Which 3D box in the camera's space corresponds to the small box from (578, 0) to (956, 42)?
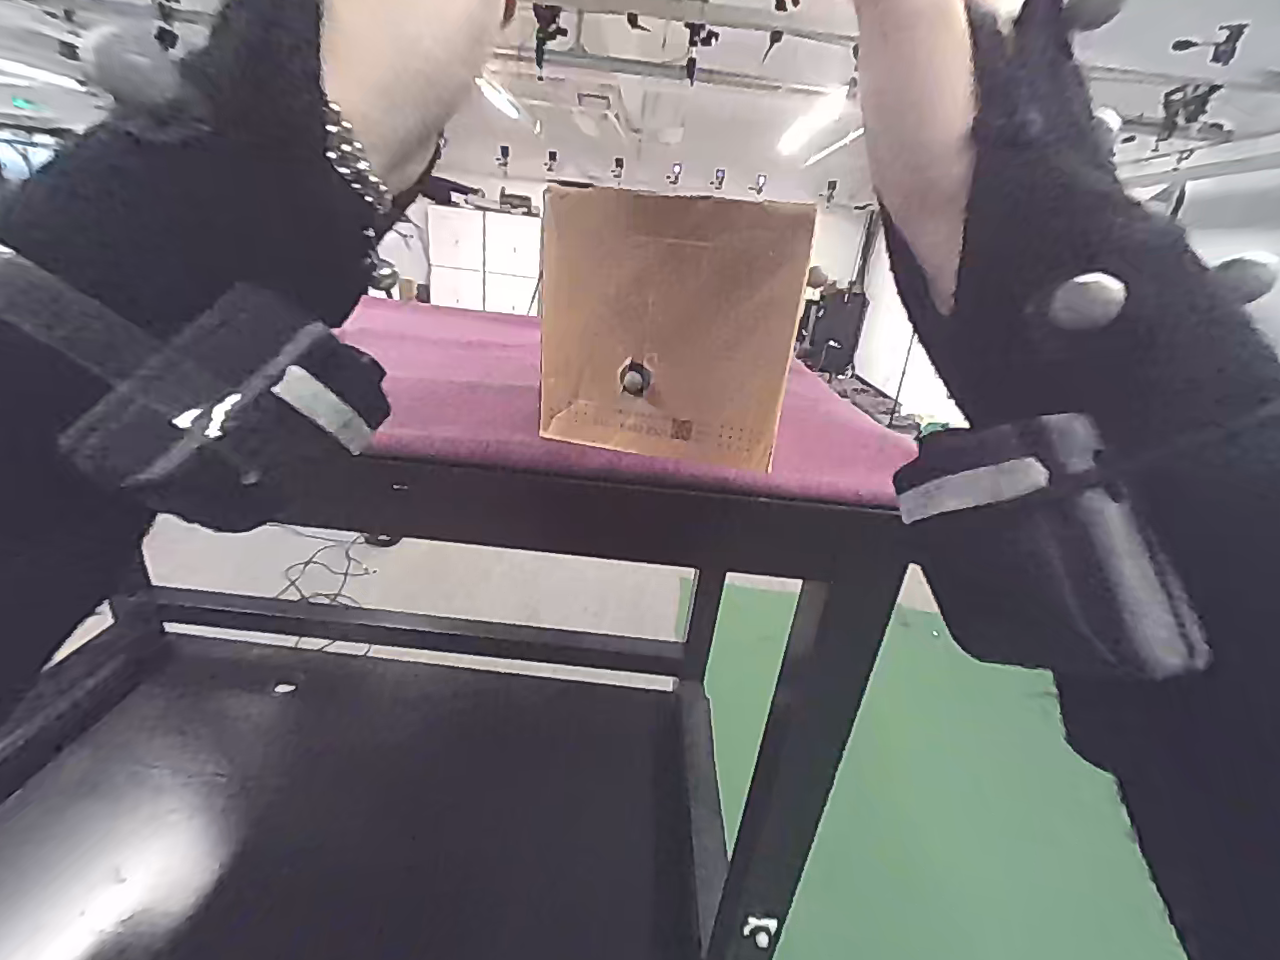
[{"bbox_3d":[0.040,-0.265,0.175,0.168,0.176,0.179,11,46,9],"label":"small box"}]
